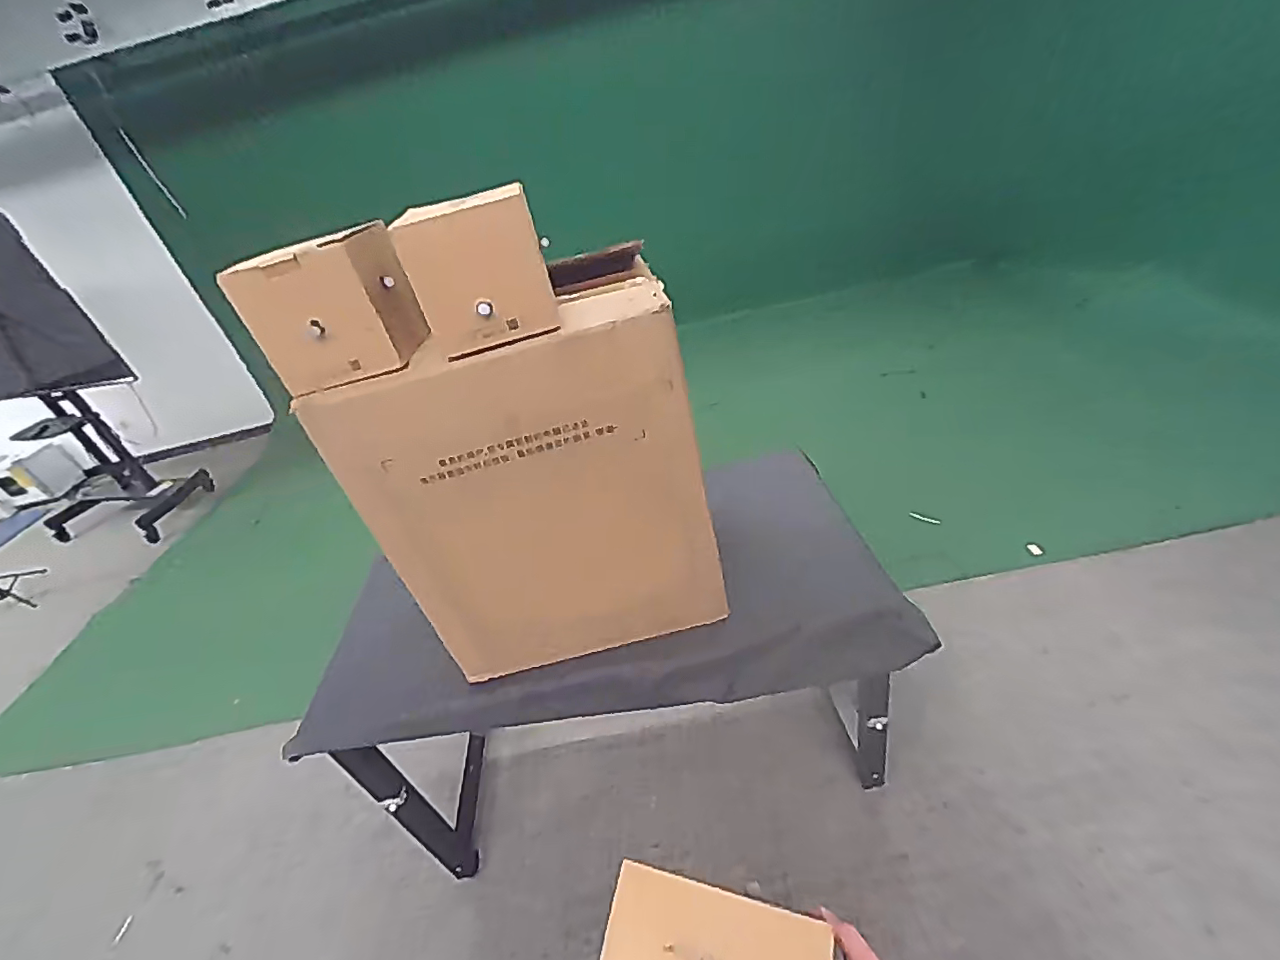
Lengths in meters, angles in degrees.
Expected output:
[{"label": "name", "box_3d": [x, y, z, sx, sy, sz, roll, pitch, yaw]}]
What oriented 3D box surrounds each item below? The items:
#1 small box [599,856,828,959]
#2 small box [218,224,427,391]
[{"label": "small box", "box_3d": [0.058, 0.434, 0.432, 0.168, 0.176, 0.179, 3, 51, 18]}, {"label": "small box", "box_3d": [-0.427, -0.241, 0.768, 0.168, 0.176, 0.179, -14, 34, 2]}]
